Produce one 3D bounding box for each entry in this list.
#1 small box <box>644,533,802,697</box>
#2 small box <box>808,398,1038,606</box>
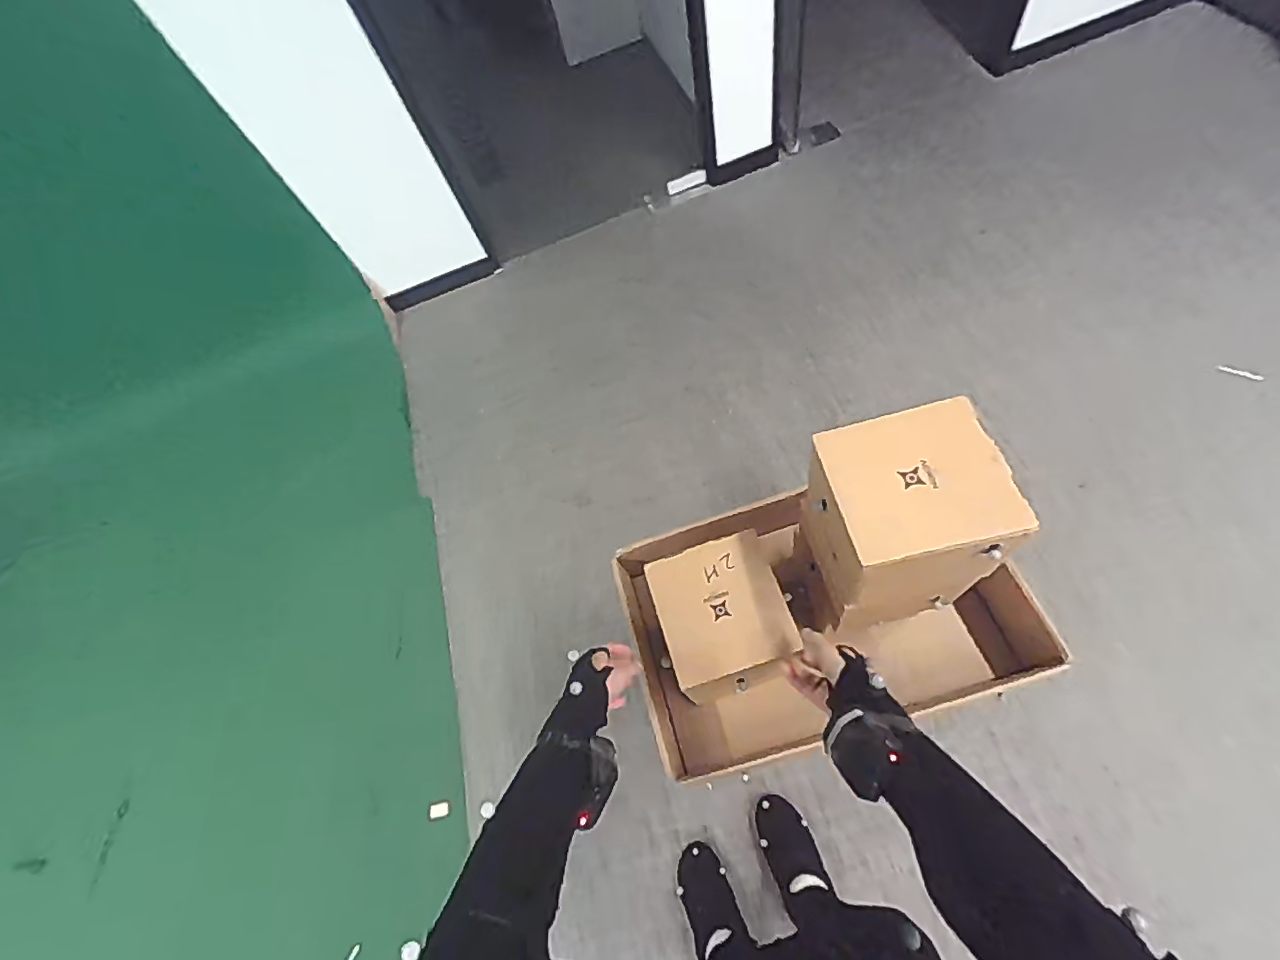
[{"bbox_3d":[0.119,0.203,0.778,0.168,0.176,0.179,-19,62,3],"label":"small box"},{"bbox_3d":[0.307,0.036,0.635,0.179,0.176,0.168,-15,61,7],"label":"small box"}]
